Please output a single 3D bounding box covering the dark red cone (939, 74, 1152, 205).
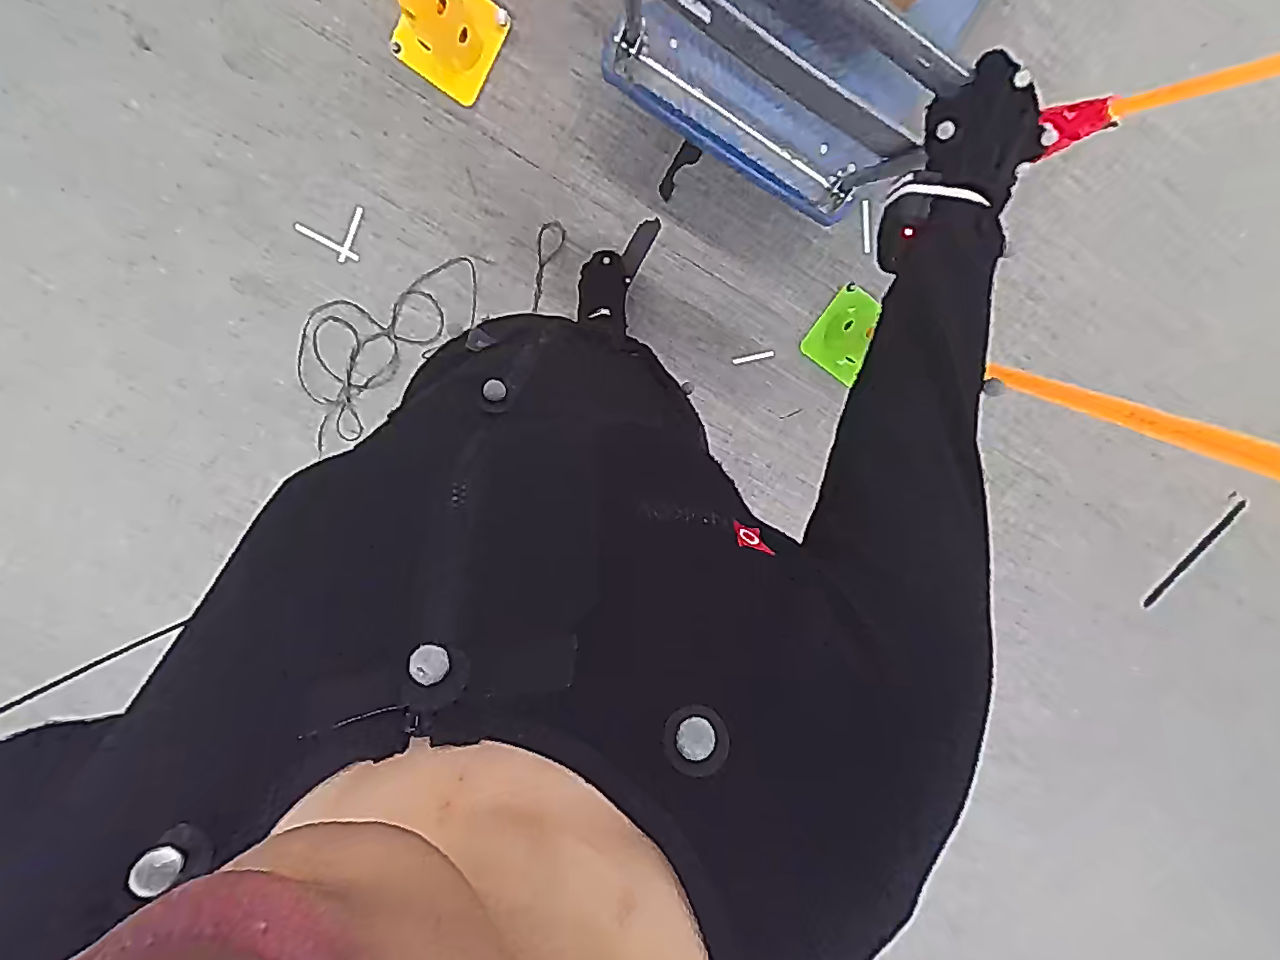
[{"bbox_3d":[0.802,-0.701,1.059,0.201,0.394,0.202,28,107,-12],"label":"dark red cone"}]

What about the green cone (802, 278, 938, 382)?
[{"bbox_3d":[0.543,-0.318,1.207,0.202,0.368,0.200,32,106,-12],"label":"green cone"}]
